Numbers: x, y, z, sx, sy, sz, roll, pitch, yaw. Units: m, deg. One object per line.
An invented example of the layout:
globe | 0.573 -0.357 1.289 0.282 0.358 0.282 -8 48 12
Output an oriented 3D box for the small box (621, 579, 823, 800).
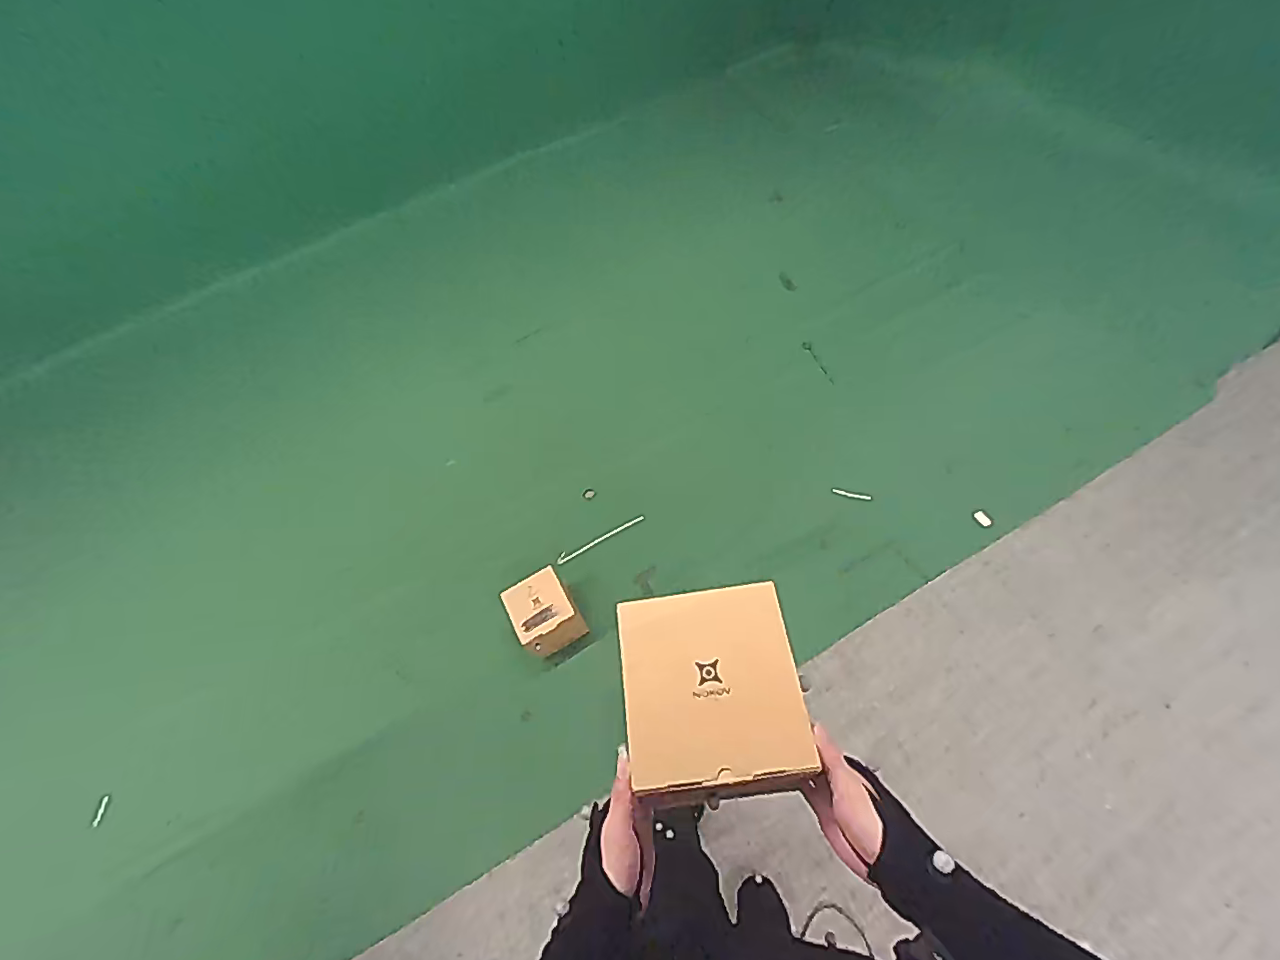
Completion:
small box | 0.075 0.226 0.573 0.168 0.176 0.179 -8 57 2
